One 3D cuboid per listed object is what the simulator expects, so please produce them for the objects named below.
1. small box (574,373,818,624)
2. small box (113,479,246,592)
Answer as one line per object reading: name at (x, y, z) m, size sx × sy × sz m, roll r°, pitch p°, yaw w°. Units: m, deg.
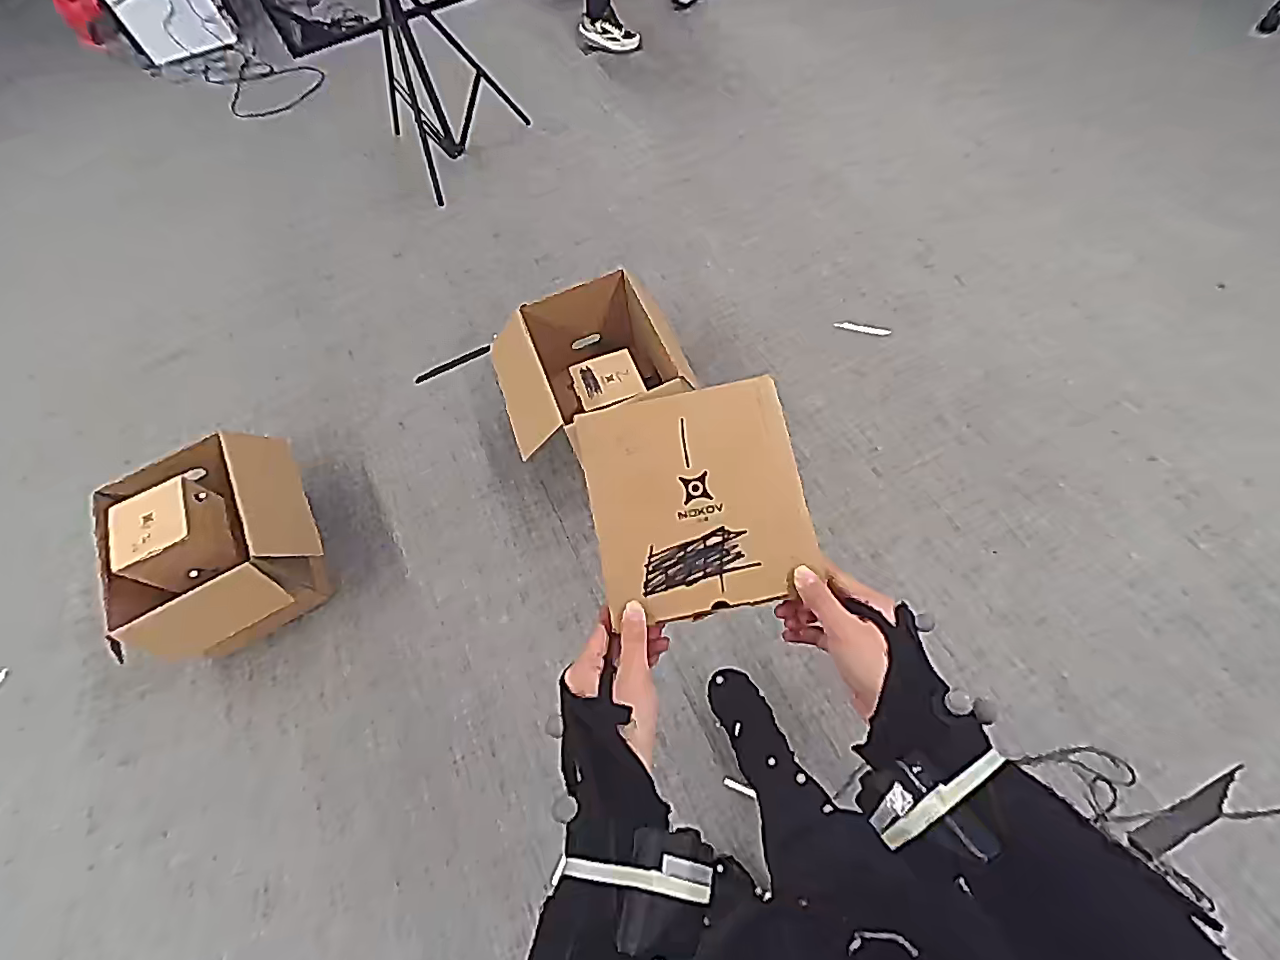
small box at (0.045, 0.026, 0.502) m, size 0.168 × 0.176 × 0.179 m, roll -11°, pitch 78°, yaw 0°
small box at (-1.067, 0.134, 1.260) m, size 0.168 × 0.176 × 0.179 m, roll -28°, pitch 64°, yaw -7°
